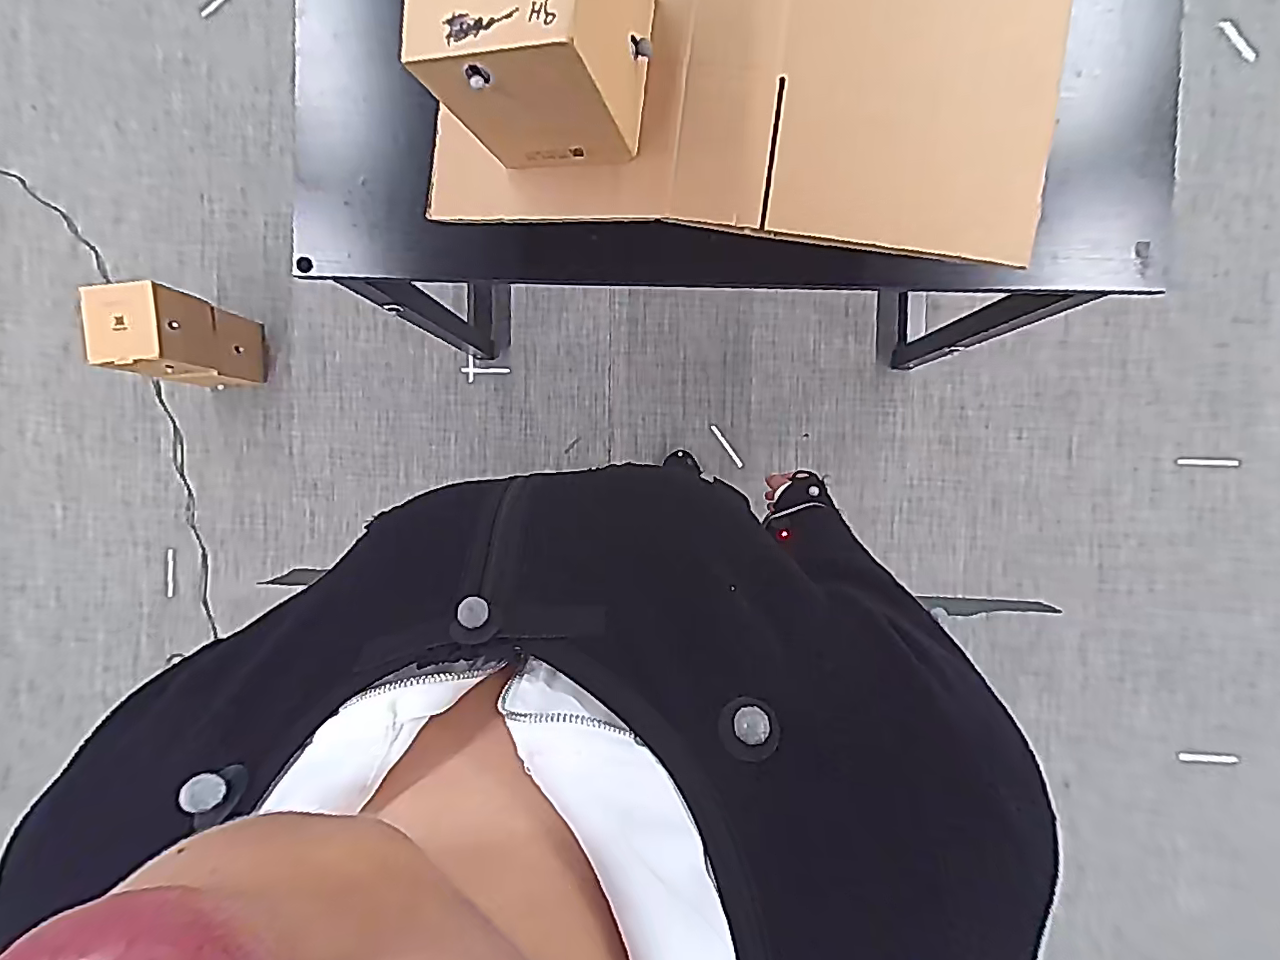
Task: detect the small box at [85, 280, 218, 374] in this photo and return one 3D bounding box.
[{"bbox_3d":[-1.145,-0.353,1.282,0.168,0.176,0.179,-5,90,1],"label":"small box"}]

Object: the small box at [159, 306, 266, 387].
[{"bbox_3d":[-1.138,-0.351,1.445,0.168,0.176,0.179,-2,92,2],"label":"small box"}]

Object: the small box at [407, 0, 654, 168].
[{"bbox_3d":[-0.091,-0.436,0.521,0.168,0.176,0.179,7,91,18],"label":"small box"}]
